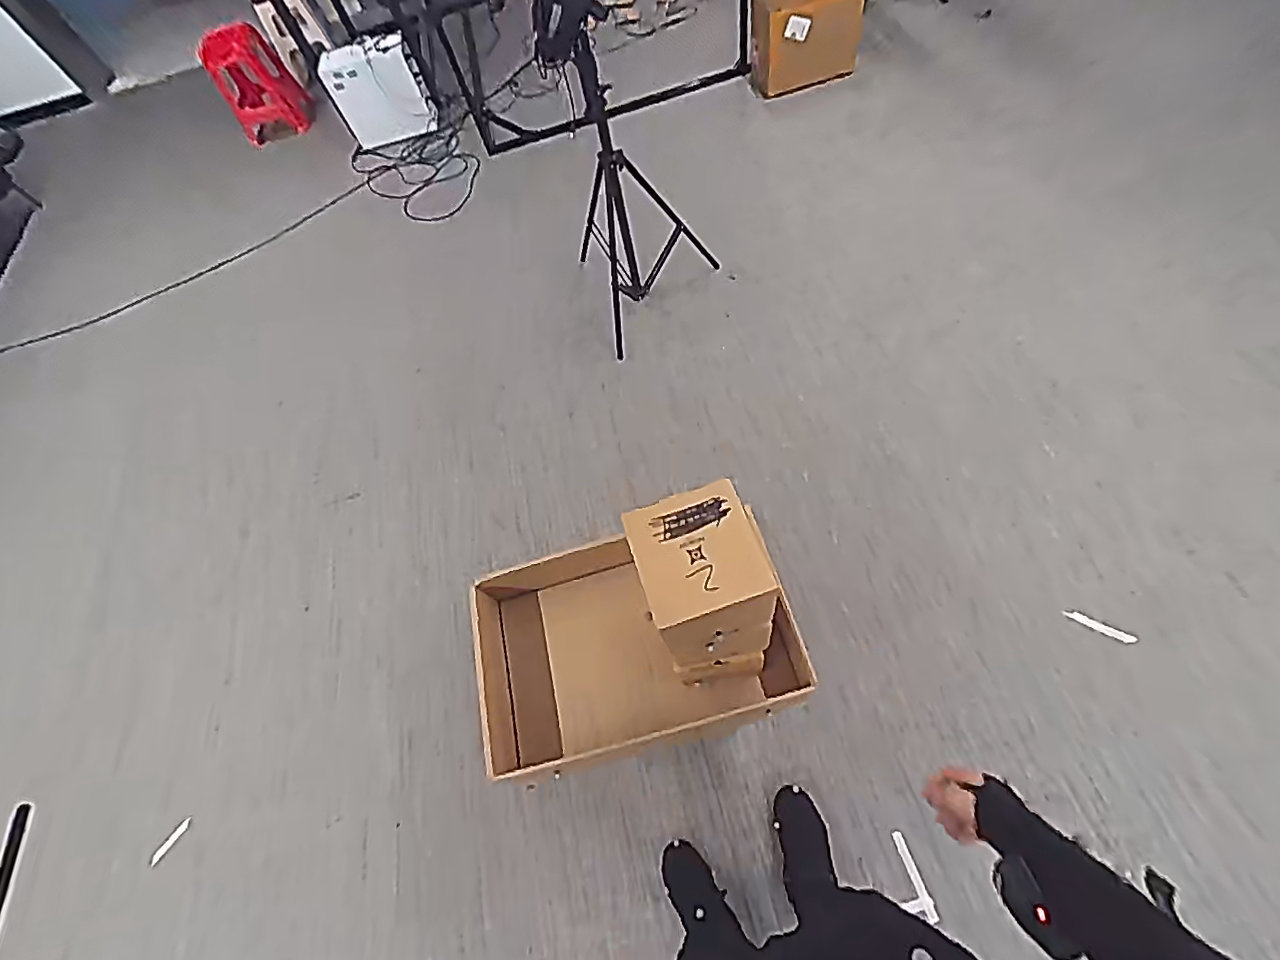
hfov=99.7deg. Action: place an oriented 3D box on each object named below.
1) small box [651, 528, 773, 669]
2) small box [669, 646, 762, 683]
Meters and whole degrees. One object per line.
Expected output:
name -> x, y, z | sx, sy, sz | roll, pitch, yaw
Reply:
small box -> 0.122, 0.210, 0.934 | 0.168, 0.176, 0.179 | -14, 59, 3
small box -> 0.142, 0.296, 1.072 | 0.168, 0.176, 0.179 | -11, 60, 4
